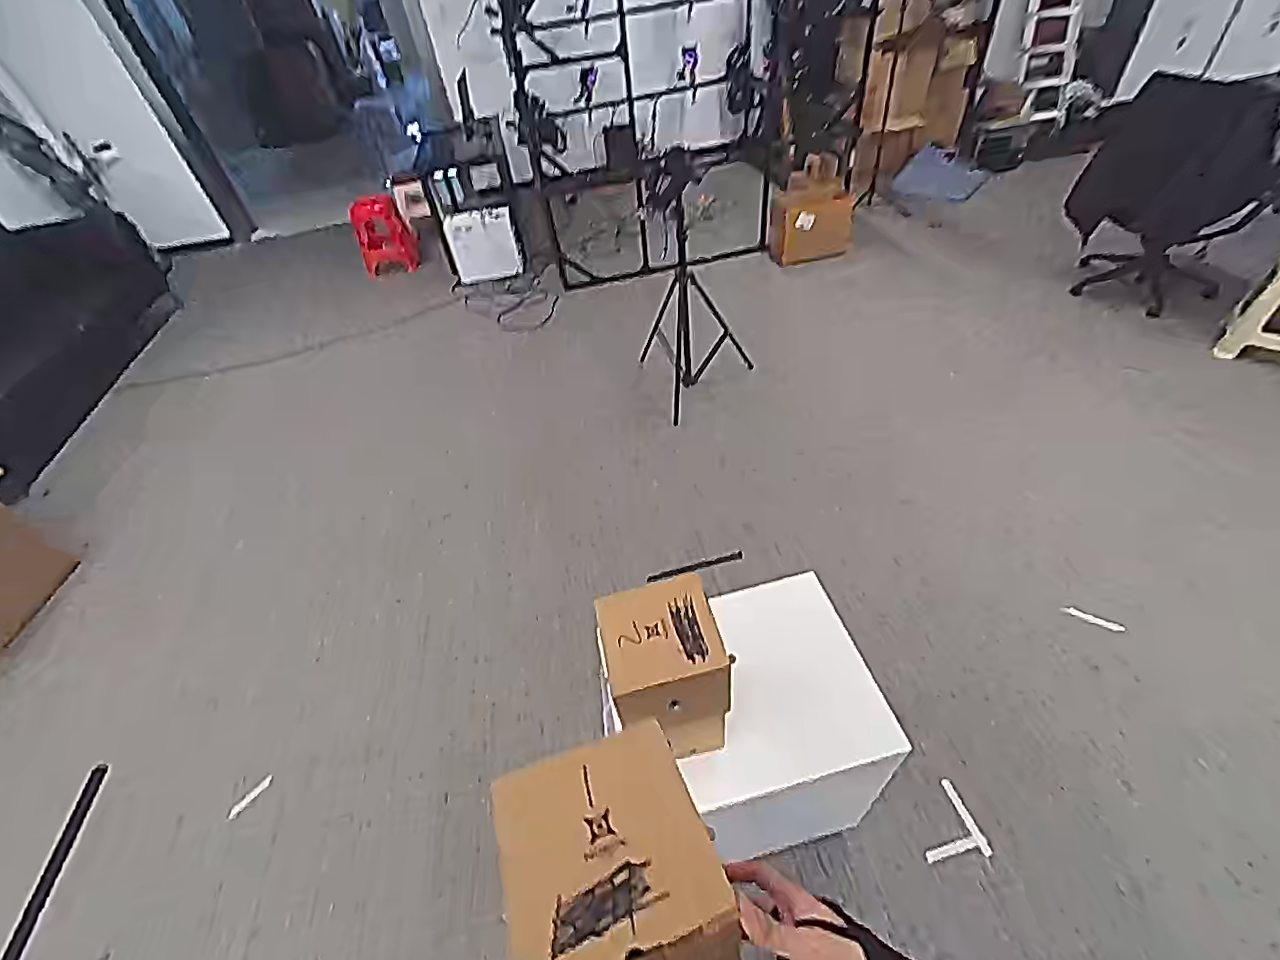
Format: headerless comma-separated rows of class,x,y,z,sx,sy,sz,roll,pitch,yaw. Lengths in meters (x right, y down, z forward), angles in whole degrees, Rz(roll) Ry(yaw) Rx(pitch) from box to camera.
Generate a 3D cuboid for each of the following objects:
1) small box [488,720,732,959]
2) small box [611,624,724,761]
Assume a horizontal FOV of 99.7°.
small box,-0.026,0.363,0.481,0.168,0.176,0.179,-15,31,-14
small box,0.052,0.396,0.981,0.168,0.176,0.179,-13,45,-4
